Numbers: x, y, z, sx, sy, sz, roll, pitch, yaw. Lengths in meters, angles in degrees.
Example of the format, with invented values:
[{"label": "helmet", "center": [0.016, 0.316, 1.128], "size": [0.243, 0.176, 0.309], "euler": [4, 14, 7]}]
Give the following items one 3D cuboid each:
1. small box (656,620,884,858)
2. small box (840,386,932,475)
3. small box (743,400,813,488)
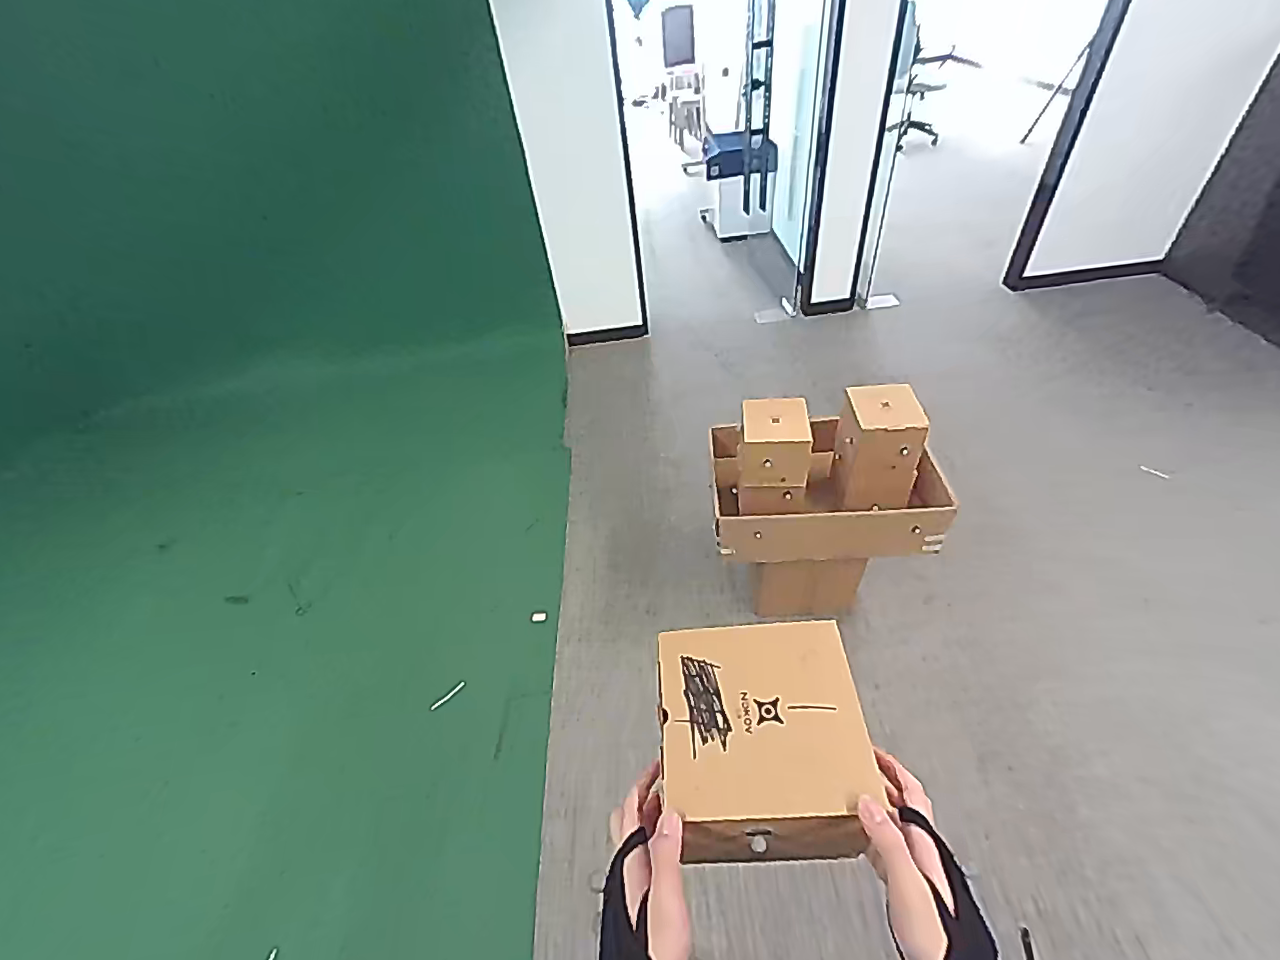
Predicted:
[{"label": "small box", "center": [0.112, 0.256, 0.528], "size": [0.179, 0.176, 0.168], "euler": [-4, 45, 5]}, {"label": "small box", "center": [0.640, -0.126, 1.427], "size": [0.168, 0.176, 0.179], "euler": [-2, 45, 6]}, {"label": "small box", "center": [0.362, -0.093, 1.439], "size": [0.168, 0.176, 0.179], "euler": [0, 44, 8]}]
